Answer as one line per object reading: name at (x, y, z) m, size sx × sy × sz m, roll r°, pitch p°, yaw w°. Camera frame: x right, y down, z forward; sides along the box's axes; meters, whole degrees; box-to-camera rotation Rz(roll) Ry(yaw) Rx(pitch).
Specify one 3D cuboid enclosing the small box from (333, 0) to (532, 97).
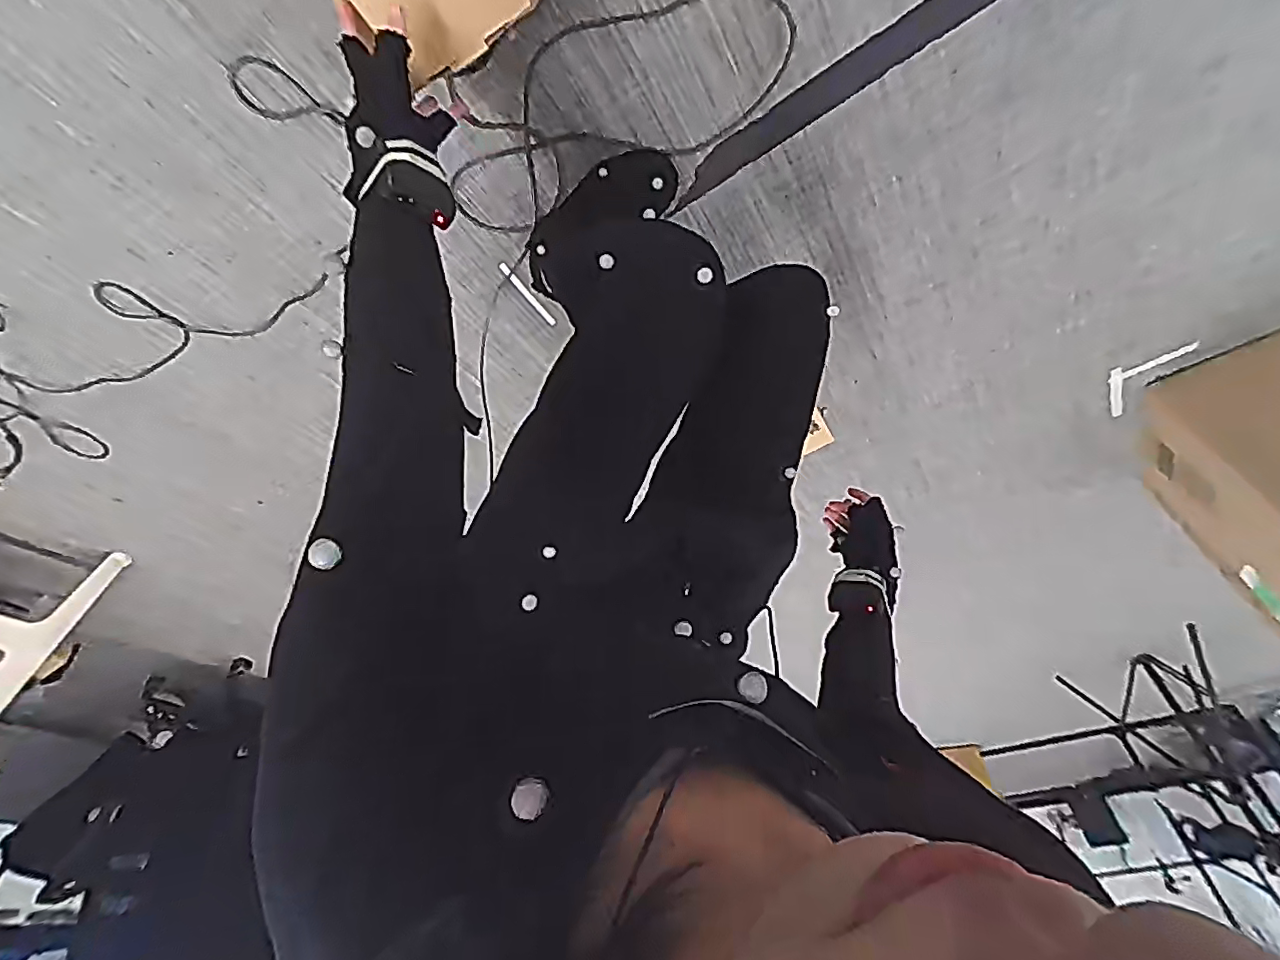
small box at (-0.217, -0.534, 0.537) m, size 0.168 × 0.176 × 0.179 m, roll -22°, pitch 133°, yaw 18°
